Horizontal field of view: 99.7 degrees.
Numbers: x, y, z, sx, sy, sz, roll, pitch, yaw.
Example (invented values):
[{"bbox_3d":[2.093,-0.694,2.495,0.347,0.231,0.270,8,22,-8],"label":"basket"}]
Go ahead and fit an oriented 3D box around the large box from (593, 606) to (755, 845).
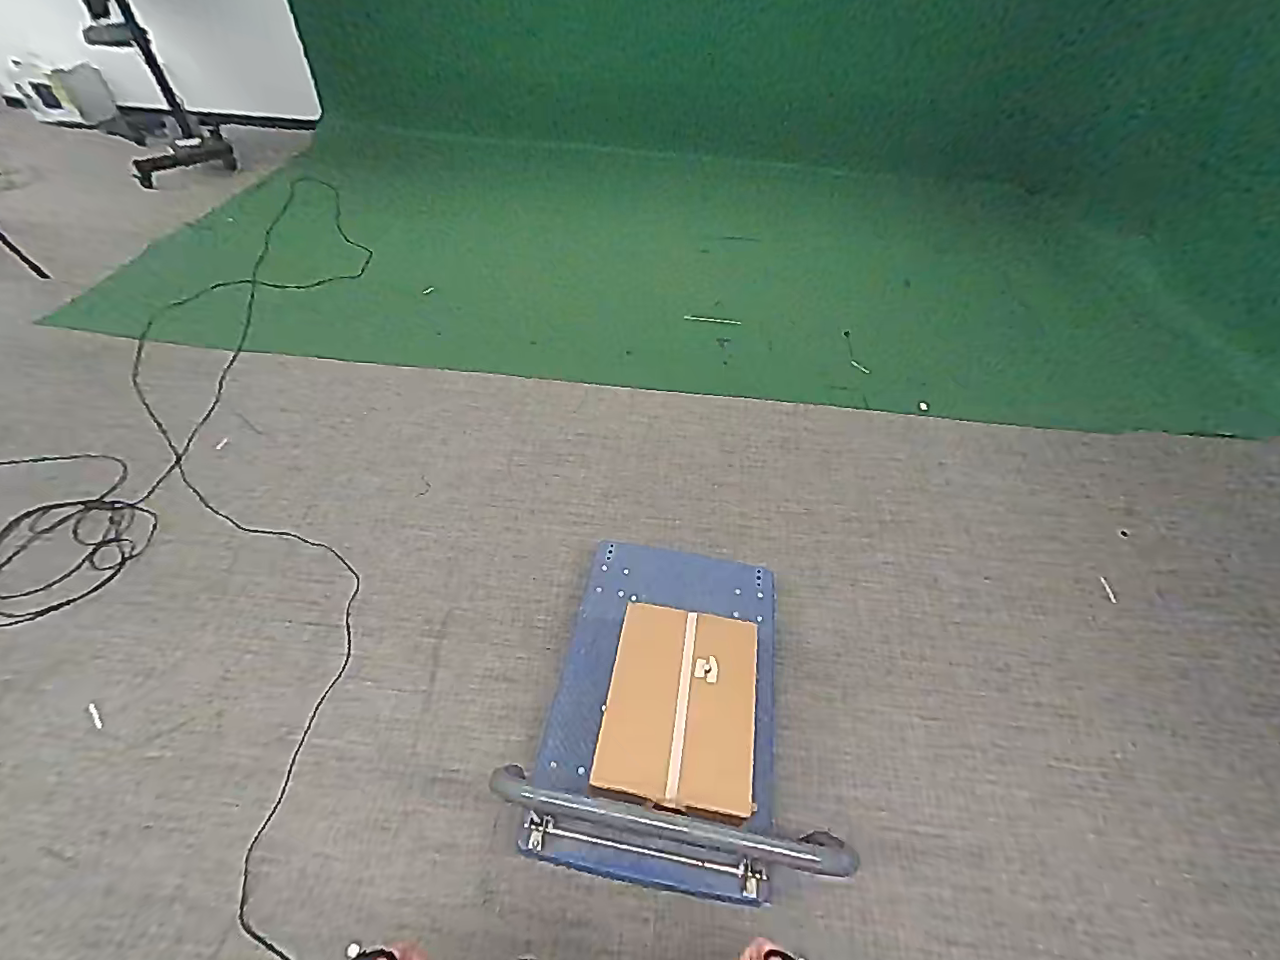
[{"bbox_3d":[0.082,0.568,1.262,0.320,0.320,0.408,10,47,4],"label":"large box"}]
